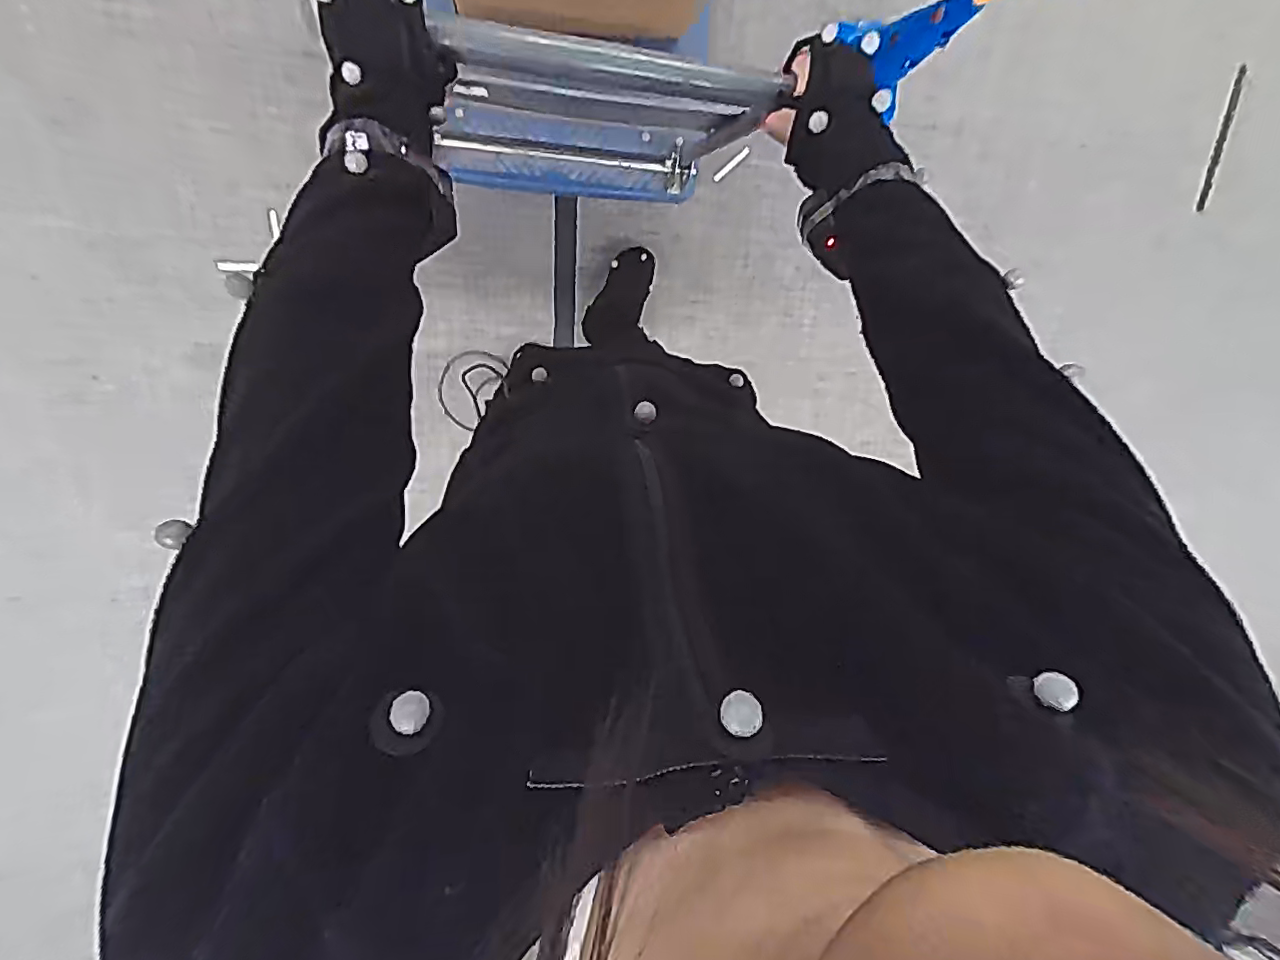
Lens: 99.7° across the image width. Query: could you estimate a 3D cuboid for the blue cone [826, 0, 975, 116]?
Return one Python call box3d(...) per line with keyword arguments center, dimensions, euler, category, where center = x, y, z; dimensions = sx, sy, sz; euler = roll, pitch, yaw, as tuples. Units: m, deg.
box3d(center=(0.560, -0.917, 1.117), dimensions=(0.193, 0.380, 0.192), euler=(-6, 108, -11), category="blue cone")
